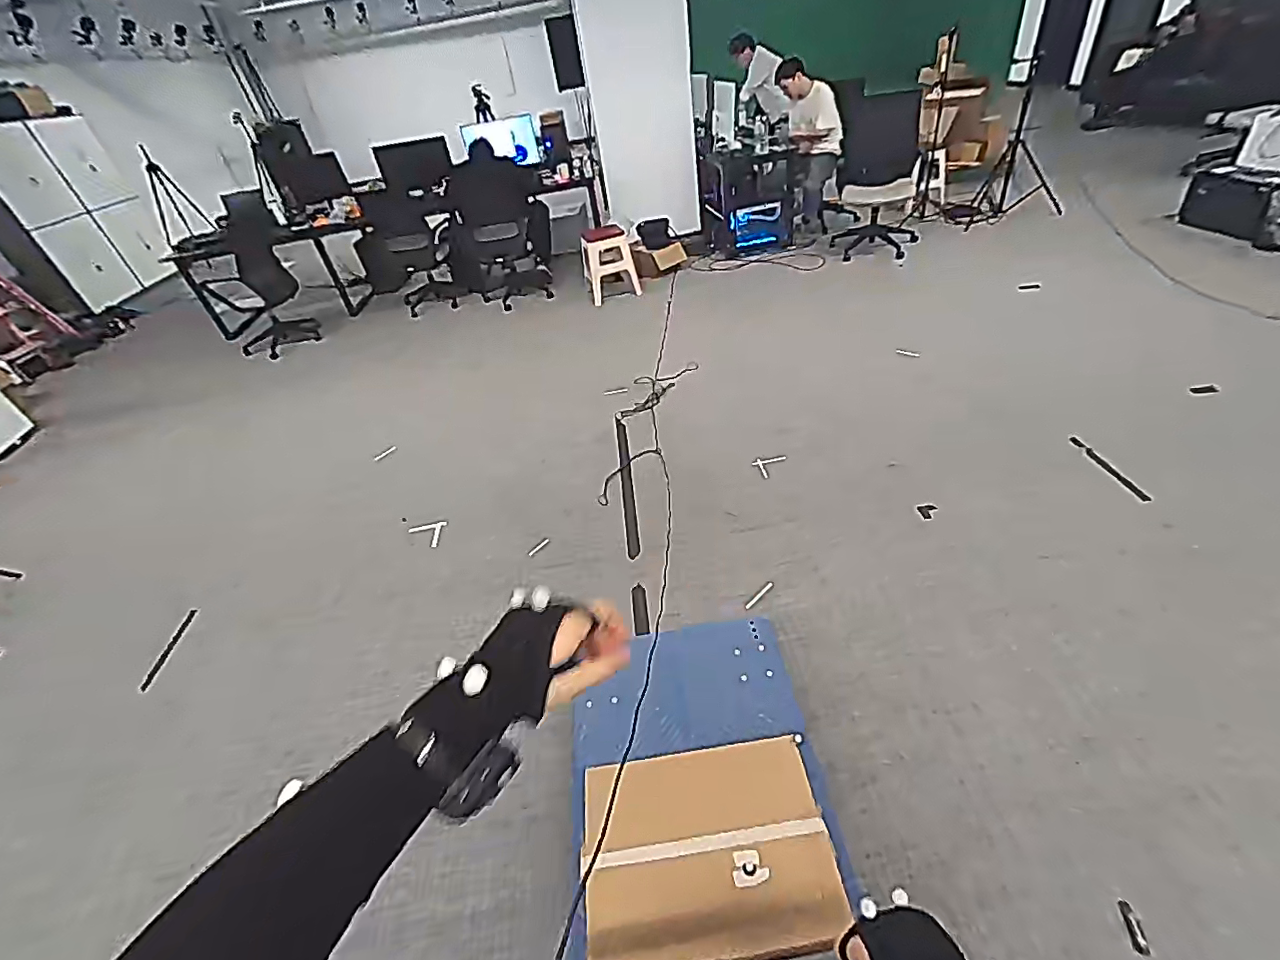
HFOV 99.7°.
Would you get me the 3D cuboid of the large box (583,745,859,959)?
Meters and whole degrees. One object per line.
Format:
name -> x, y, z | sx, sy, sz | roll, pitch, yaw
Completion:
large box -> 0.125, 0.737, 0.978 | 0.408, 0.320, 0.320 | -10, 38, 1
